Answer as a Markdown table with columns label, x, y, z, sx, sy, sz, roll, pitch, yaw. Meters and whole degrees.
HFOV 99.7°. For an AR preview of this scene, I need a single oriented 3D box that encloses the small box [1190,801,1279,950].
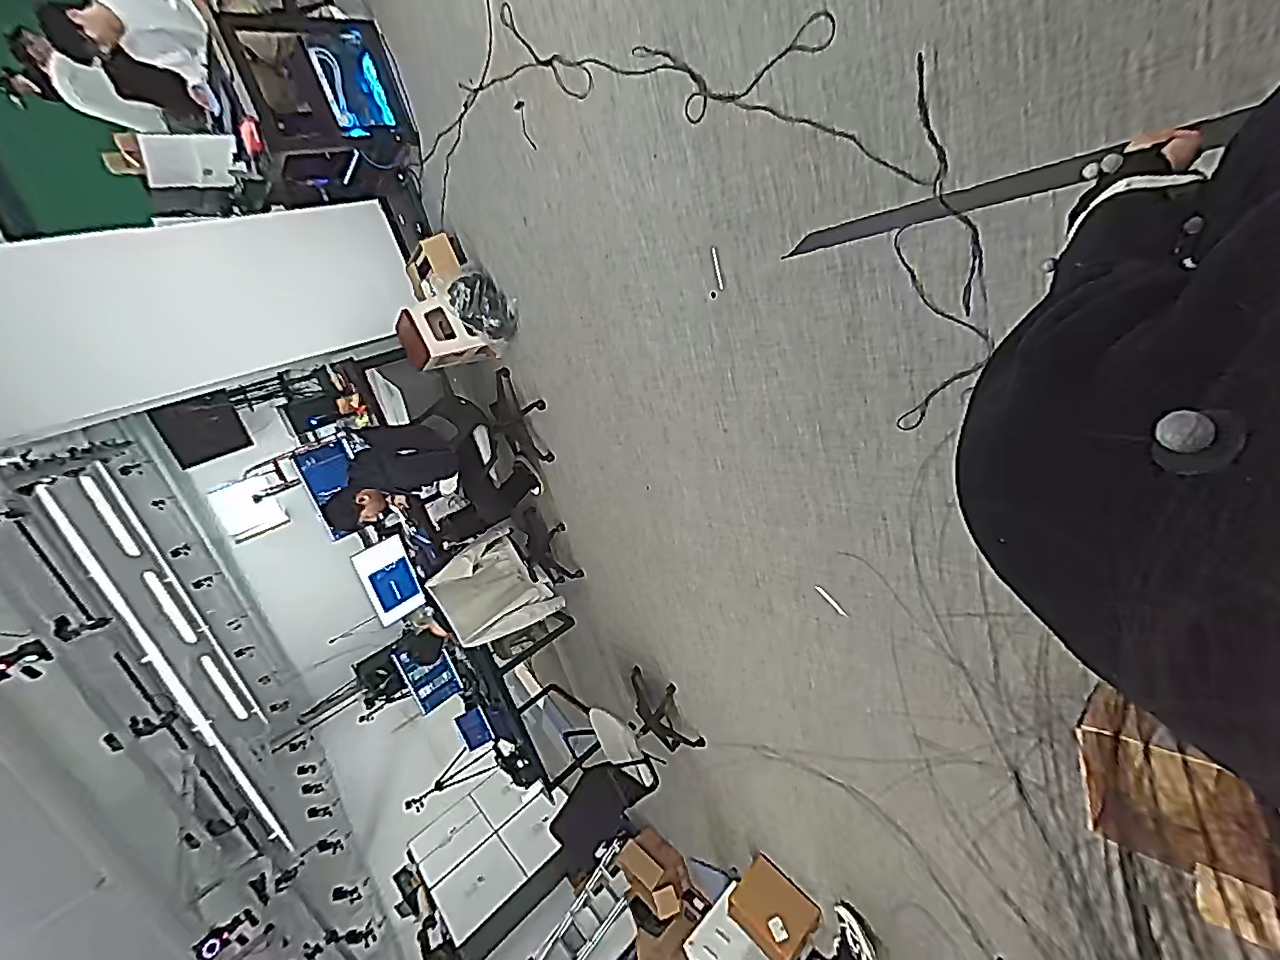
| label | x | y | z | sx | sy | sz | roll | pitch | yaw |
| --- | --- | --- | --- | --- | --- | --- | --- | --- | --- |
| small box | 1.298 | 0.837 | 1.146 | 0.168 | 0.176 | 0.179 | 2 | 116 | 52 |
